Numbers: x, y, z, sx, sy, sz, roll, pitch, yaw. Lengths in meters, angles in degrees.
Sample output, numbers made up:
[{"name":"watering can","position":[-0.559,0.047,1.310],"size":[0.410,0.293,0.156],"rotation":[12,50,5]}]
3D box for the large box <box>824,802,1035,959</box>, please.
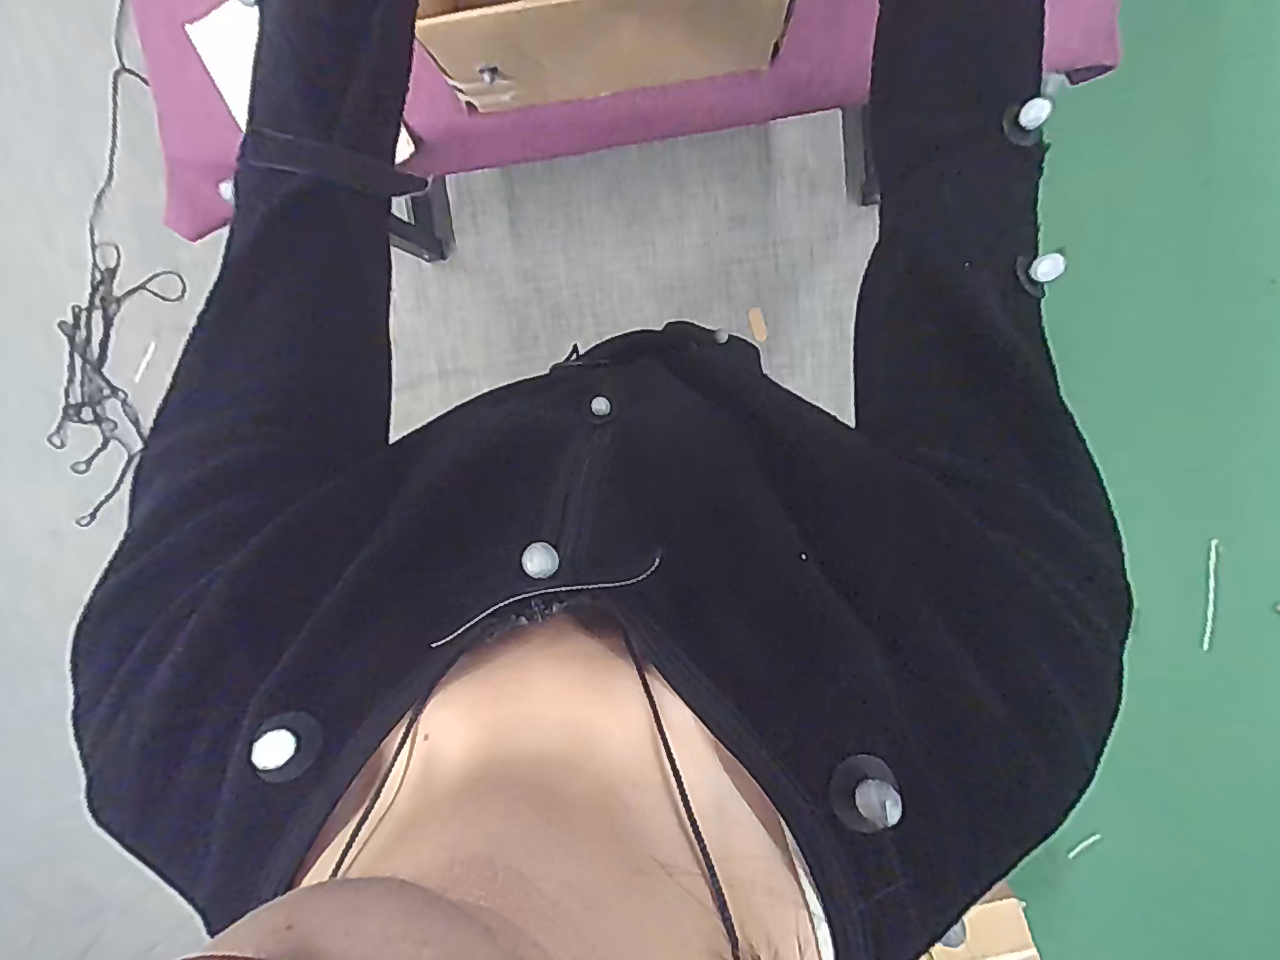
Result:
[{"name":"large box","position":[0.790,1.189,1.510],"size":[0.408,0.320,0.320],"rotation":[-21,99,7]}]
